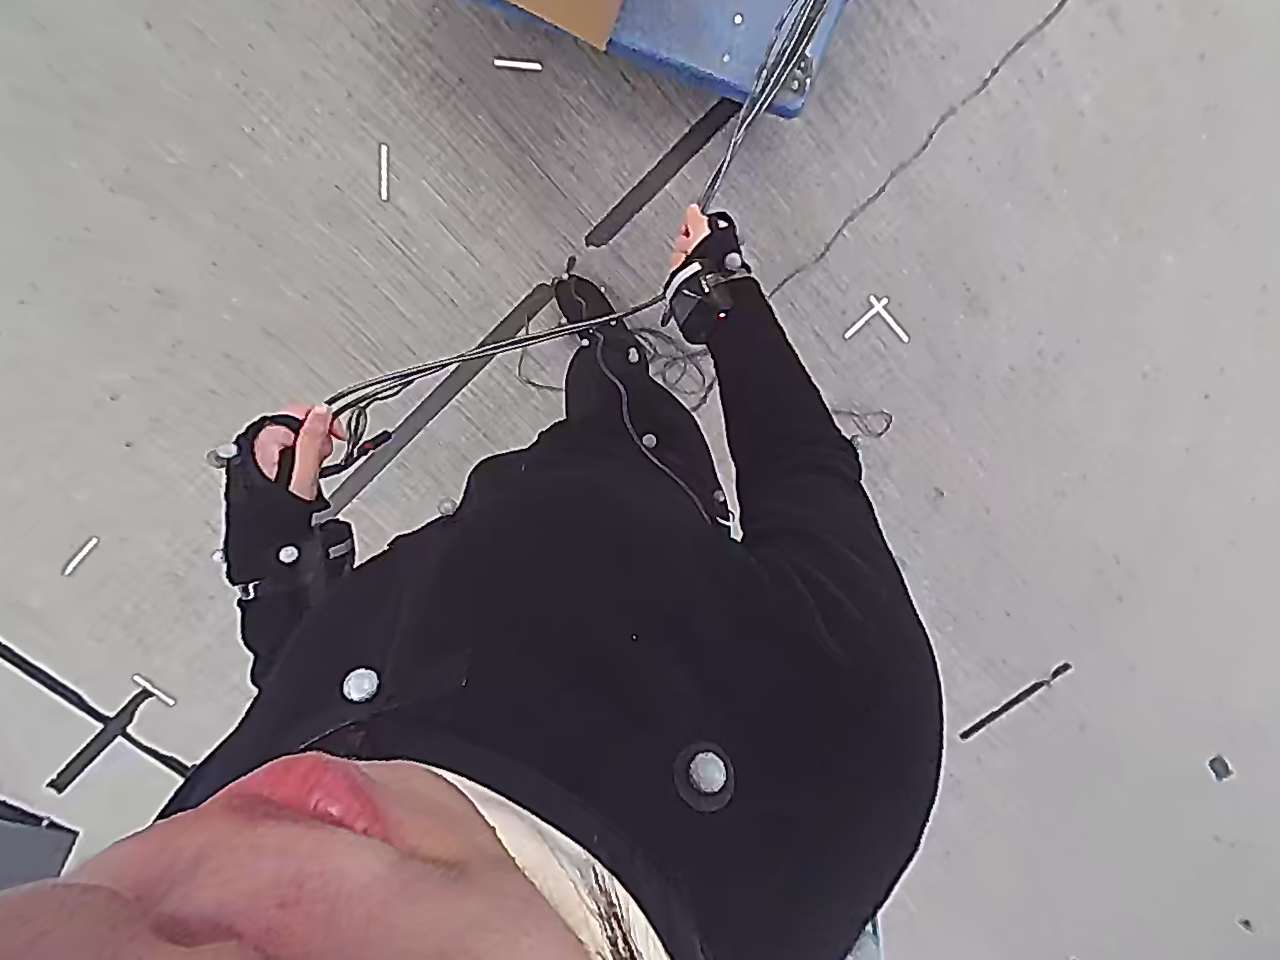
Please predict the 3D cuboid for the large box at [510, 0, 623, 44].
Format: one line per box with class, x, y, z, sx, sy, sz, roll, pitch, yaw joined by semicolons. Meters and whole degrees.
large box;-0.189;-1.018;0.865;0.408;0.320;0.320;22;102;-6
